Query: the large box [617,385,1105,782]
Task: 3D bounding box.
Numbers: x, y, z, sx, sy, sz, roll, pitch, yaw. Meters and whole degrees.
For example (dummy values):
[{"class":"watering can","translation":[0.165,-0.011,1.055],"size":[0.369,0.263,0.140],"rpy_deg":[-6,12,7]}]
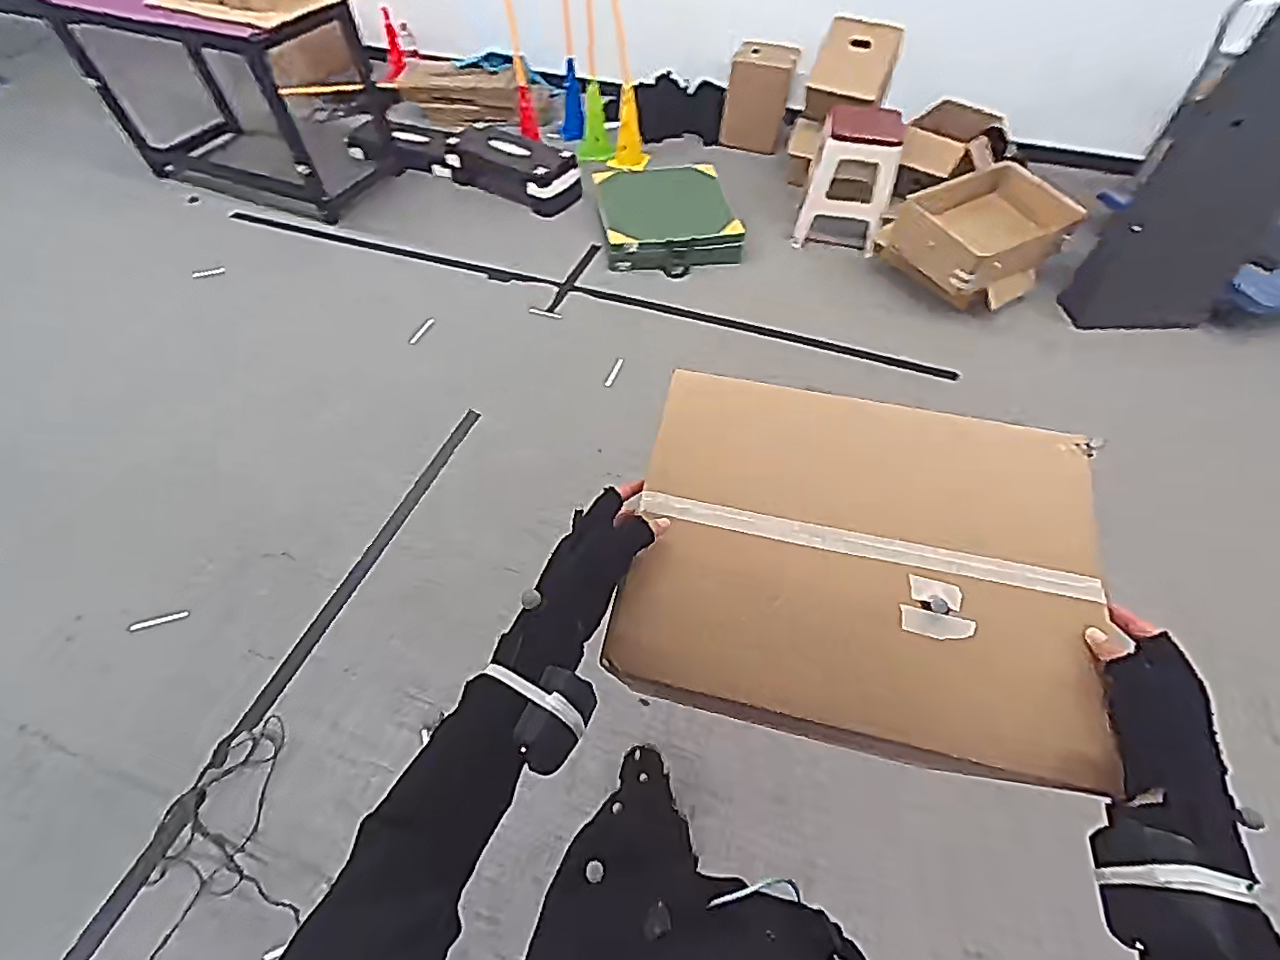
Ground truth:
[{"class":"large box","translation":[0.209,0.127,0.640],"size":[0.408,0.320,0.320],"rpy_deg":[11,67,8]}]
